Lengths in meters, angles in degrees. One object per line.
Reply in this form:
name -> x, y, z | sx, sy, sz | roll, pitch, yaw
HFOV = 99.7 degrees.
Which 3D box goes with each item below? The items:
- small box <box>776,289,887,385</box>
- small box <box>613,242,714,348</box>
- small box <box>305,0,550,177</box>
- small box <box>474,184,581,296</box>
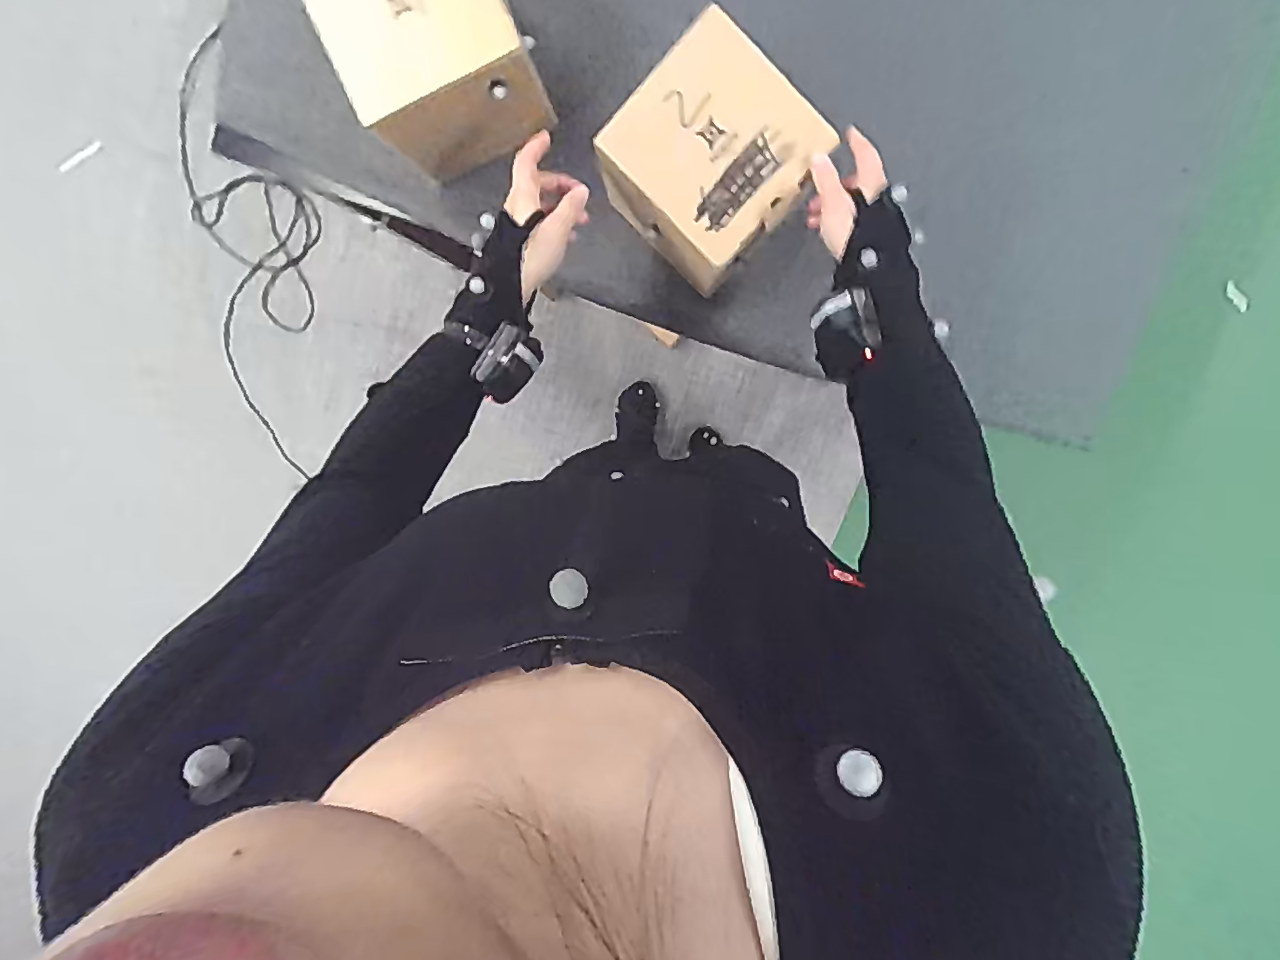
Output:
small box -> 0.453, -0.338, 1.313 | 0.179, 0.176, 0.168 | 24, 100, -3
small box -> 0.059, -0.438, 1.313 | 0.179, 0.176, 0.168 | 39, 98, -3
small box -> -0.218, -0.465, 0.582 | 0.179, 0.176, 0.168 | -22, 98, 6
small box -> -0.264, -0.567, 1.306 | 0.179, 0.176, 0.168 | 31, 100, -2
